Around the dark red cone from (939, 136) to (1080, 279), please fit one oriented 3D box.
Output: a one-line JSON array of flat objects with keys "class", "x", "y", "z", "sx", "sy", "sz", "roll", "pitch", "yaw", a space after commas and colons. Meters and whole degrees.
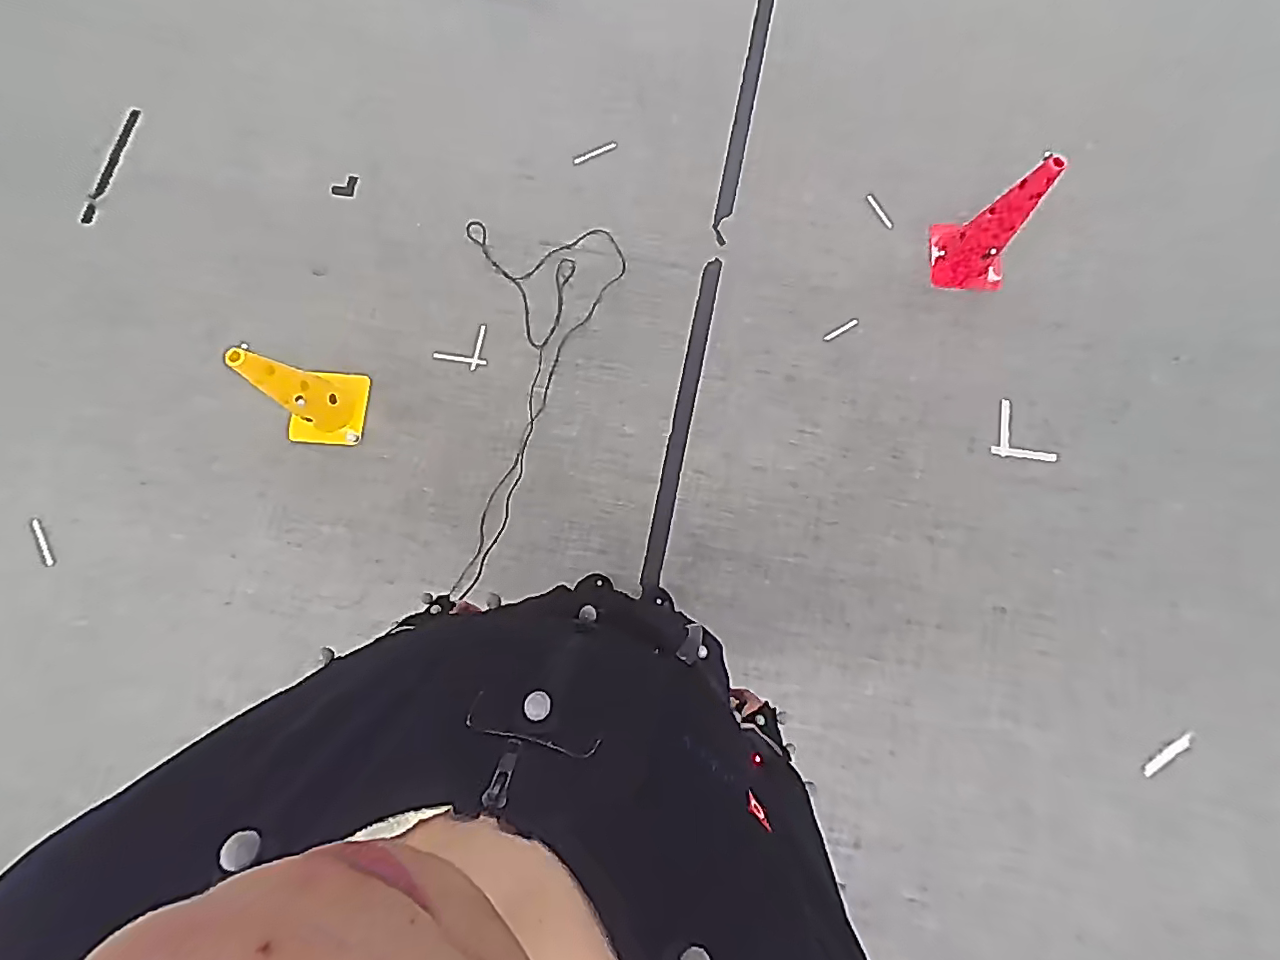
[{"class": "dark red cone", "x": 0.926, "y": -0.684, "z": 1.339, "sx": 0.201, "sy": 0.394, "sz": 0.202, "roll": 3, "pitch": 79, "yaw": 3}]
